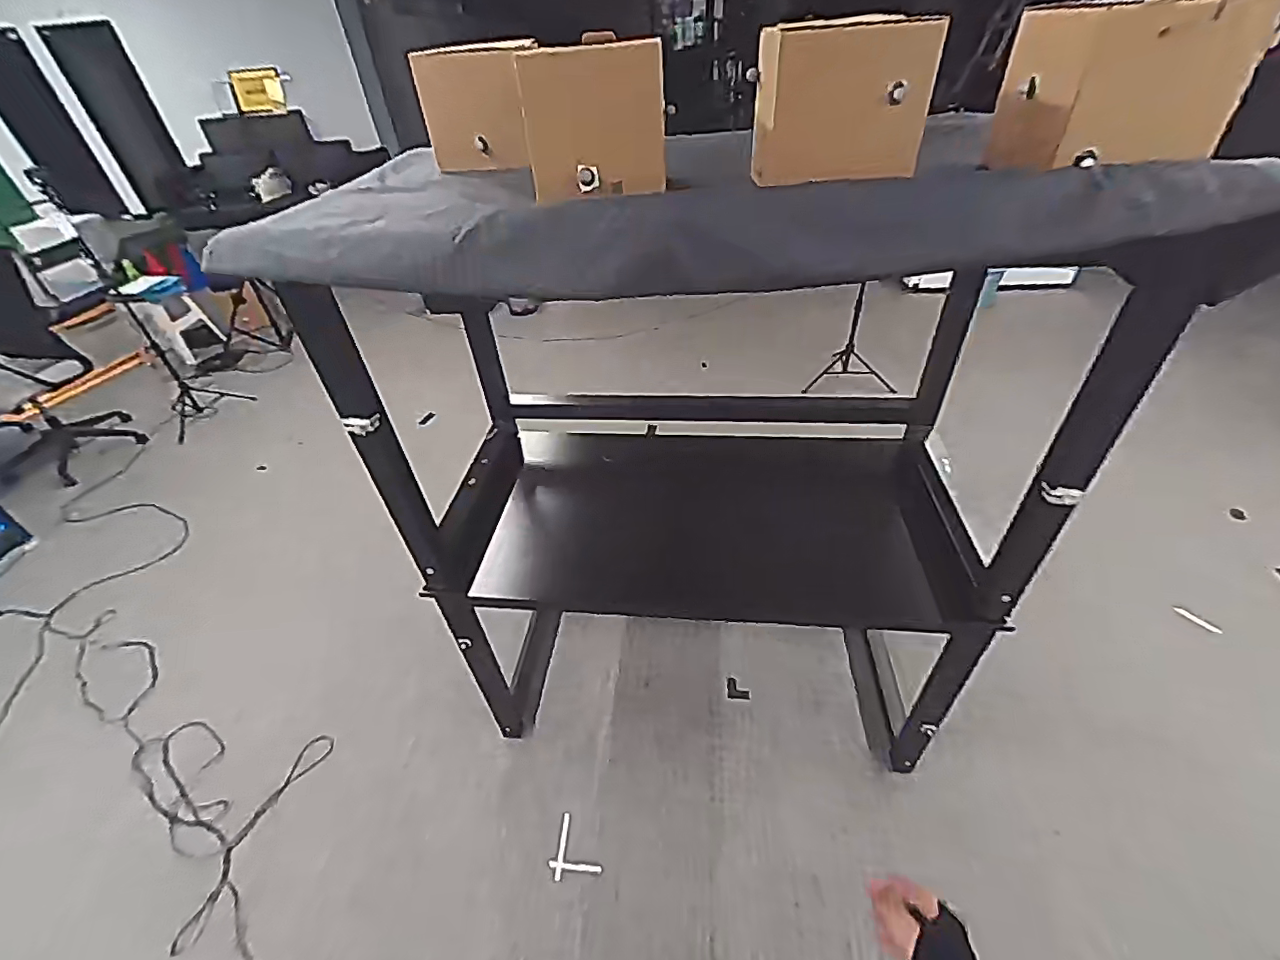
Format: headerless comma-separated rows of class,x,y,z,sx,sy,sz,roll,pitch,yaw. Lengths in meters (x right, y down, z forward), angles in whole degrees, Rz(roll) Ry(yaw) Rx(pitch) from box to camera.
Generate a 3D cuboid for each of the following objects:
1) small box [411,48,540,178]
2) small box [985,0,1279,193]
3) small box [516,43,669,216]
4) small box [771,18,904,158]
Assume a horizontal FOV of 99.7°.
small box,-0.264,-0.644,0.951,0.179,0.176,0.168,1,41,5
small box,0.543,-0.442,0.629,0.168,0.176,0.179,-1,39,5
small box,-0.049,-0.454,0.705,0.168,0.176,0.179,-2,39,4
small box,0.311,-0.639,0.891,0.168,0.176,0.179,0,40,7
